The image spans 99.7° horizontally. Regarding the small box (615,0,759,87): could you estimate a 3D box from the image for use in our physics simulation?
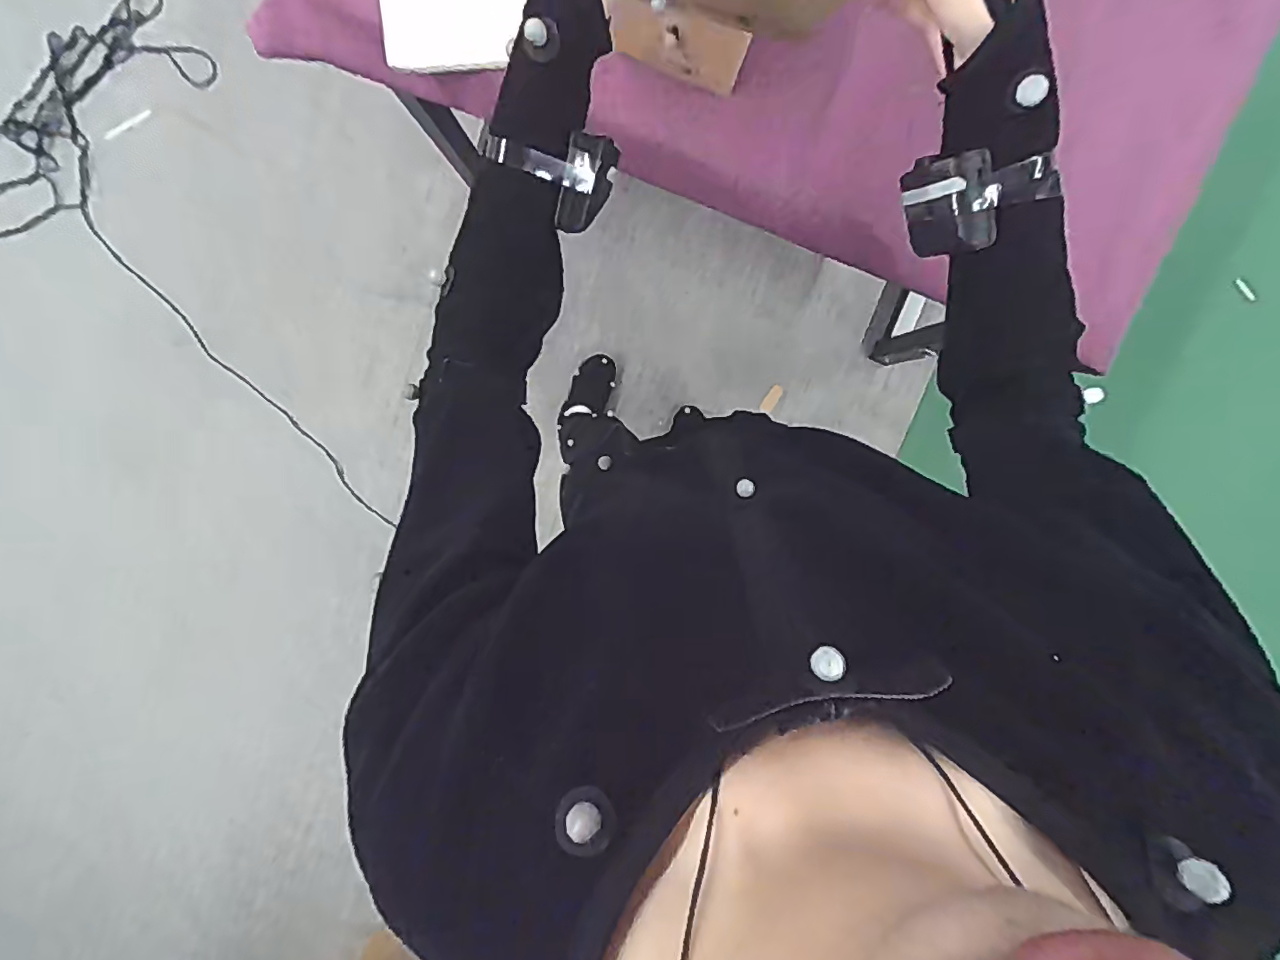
[{"bbox_3d":[0.074,-0.603,0.617,0.168,0.176,0.179,22,97,-3],"label":"small box"}]

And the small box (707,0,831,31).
[{"bbox_3d":[0.086,-0.440,0.350,0.168,0.176,0.179,9,110,-8],"label":"small box"}]
